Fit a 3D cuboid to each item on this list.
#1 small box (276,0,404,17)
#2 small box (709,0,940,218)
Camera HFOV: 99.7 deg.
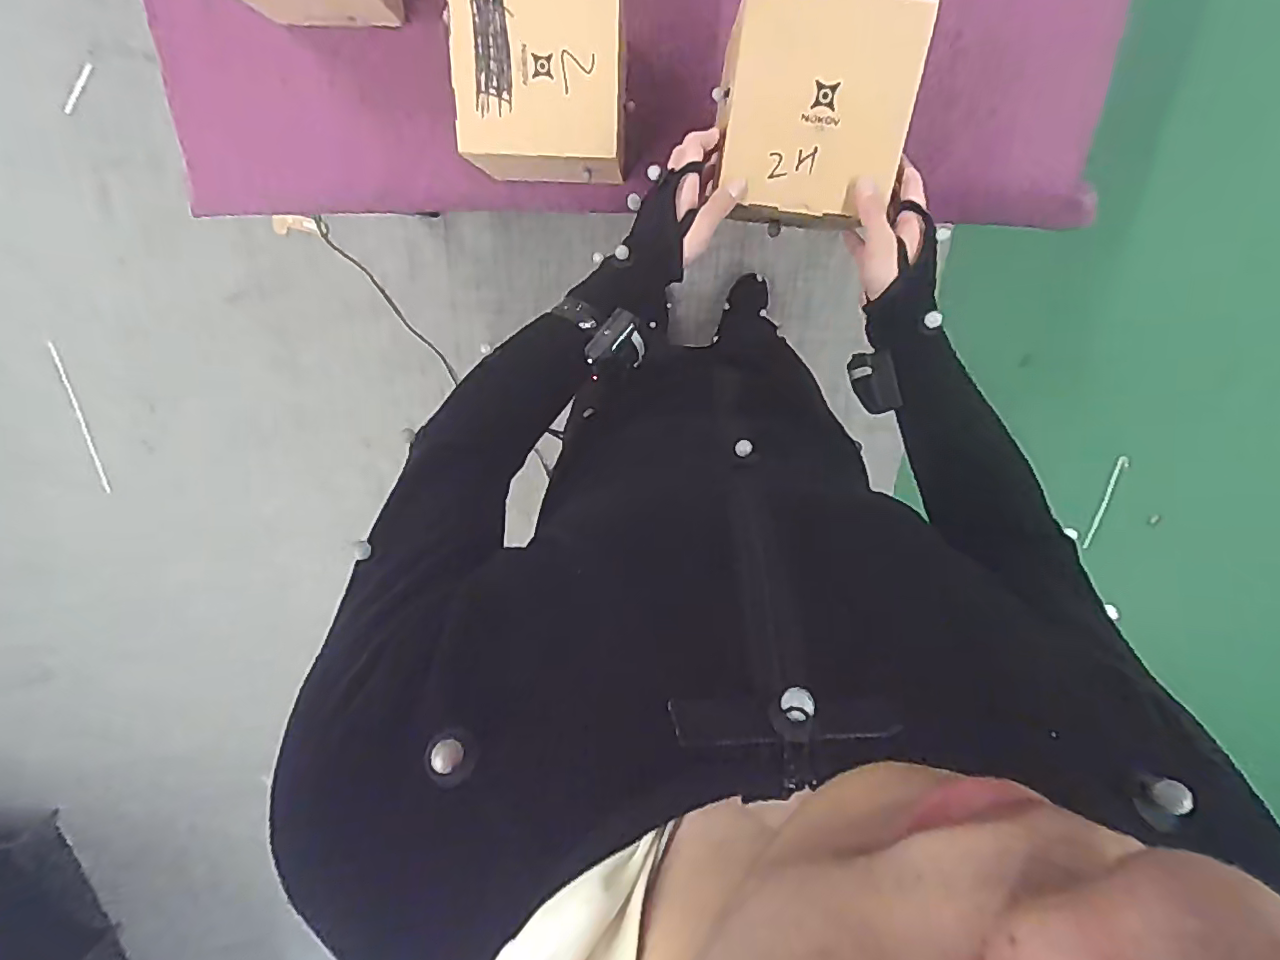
[{"bbox_3d":[-0.370,-0.629,0.564,0.168,0.176,0.179,2,112,2],"label":"small box"},{"bbox_3d":[0.168,-0.382,0.558,0.168,0.176,0.179,7,113,0],"label":"small box"}]
